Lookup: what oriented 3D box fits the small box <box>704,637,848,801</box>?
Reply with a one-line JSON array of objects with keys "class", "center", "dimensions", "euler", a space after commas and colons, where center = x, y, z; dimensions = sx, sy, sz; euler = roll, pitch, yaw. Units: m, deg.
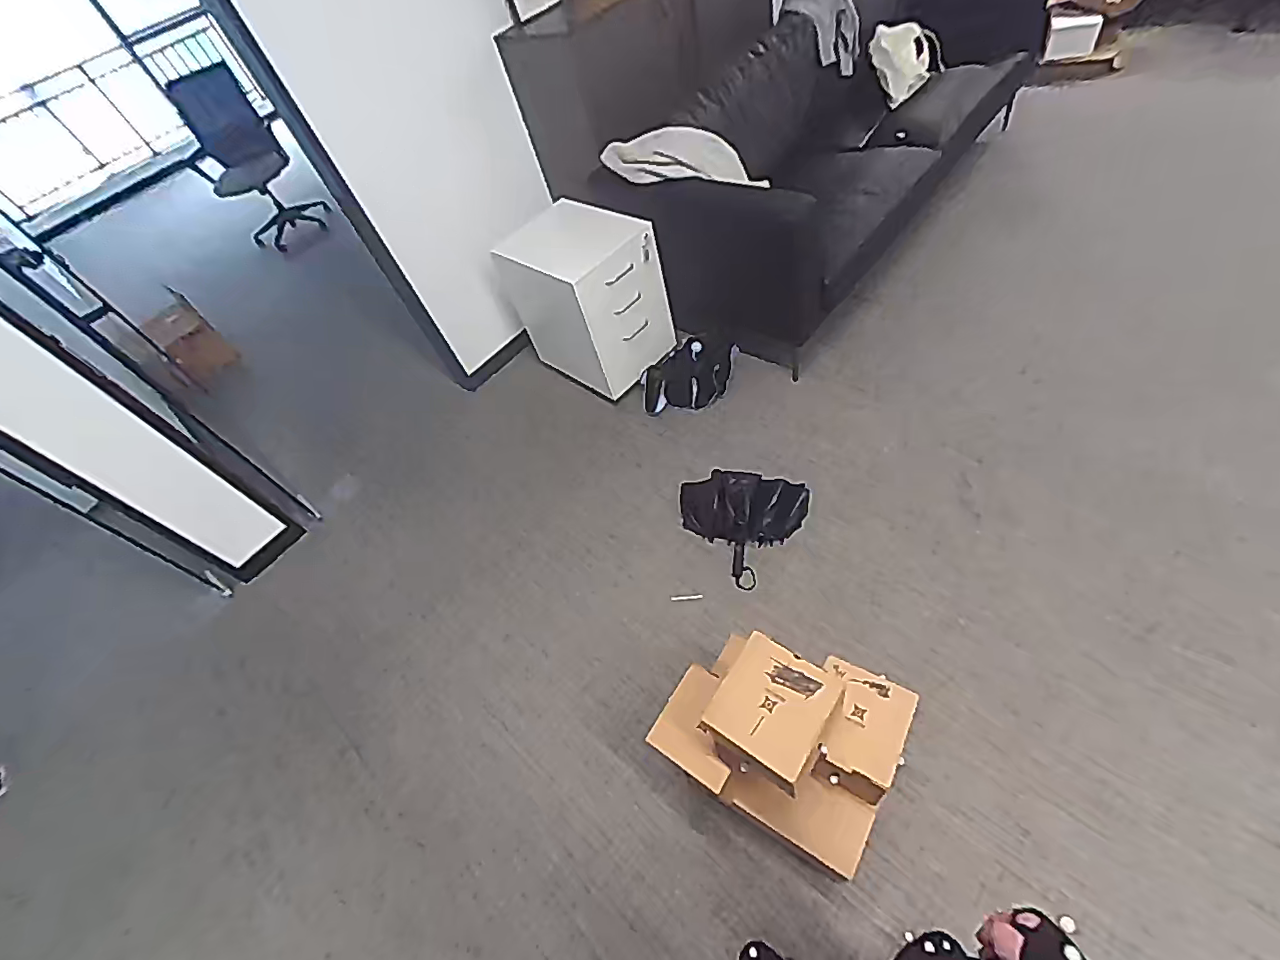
[{"class": "small box", "center": [0.231, 0.405, 0.913], "dimensions": [0.168, 0.176, 0.179], "euler": [25, 65, 32]}]

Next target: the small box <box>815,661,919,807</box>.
[{"class": "small box", "center": [0.403, 0.480, 1.017], "dimensions": [0.168, 0.176, 0.179], "euler": [20, 60, 29]}]
